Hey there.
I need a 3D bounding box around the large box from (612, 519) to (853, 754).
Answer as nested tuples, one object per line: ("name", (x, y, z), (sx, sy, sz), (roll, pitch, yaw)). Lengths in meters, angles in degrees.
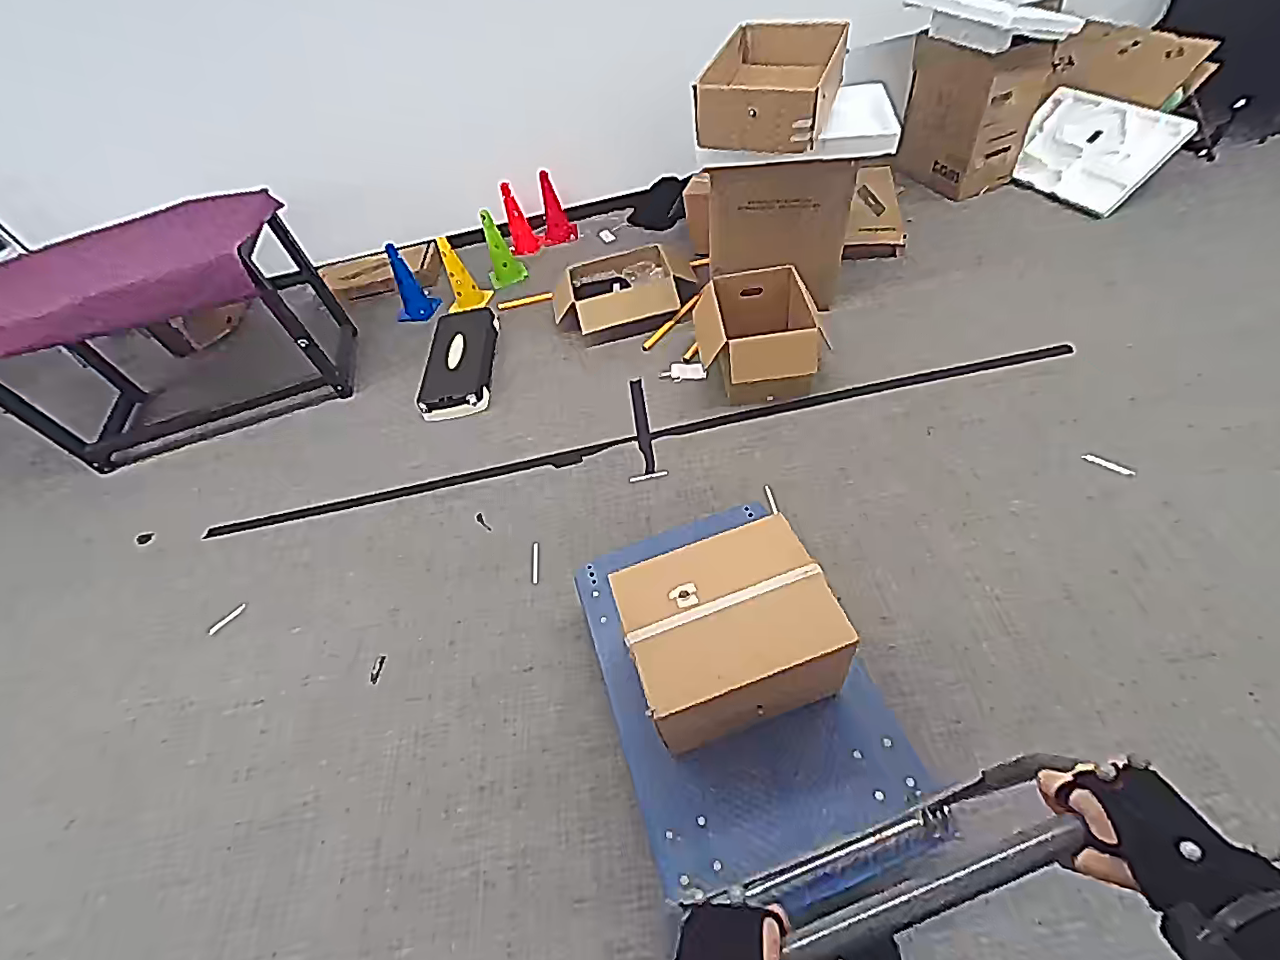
("large box", (0.195, 0.352, 1.201), (0.408, 0.320, 0.320), (-20, 50, -4))
